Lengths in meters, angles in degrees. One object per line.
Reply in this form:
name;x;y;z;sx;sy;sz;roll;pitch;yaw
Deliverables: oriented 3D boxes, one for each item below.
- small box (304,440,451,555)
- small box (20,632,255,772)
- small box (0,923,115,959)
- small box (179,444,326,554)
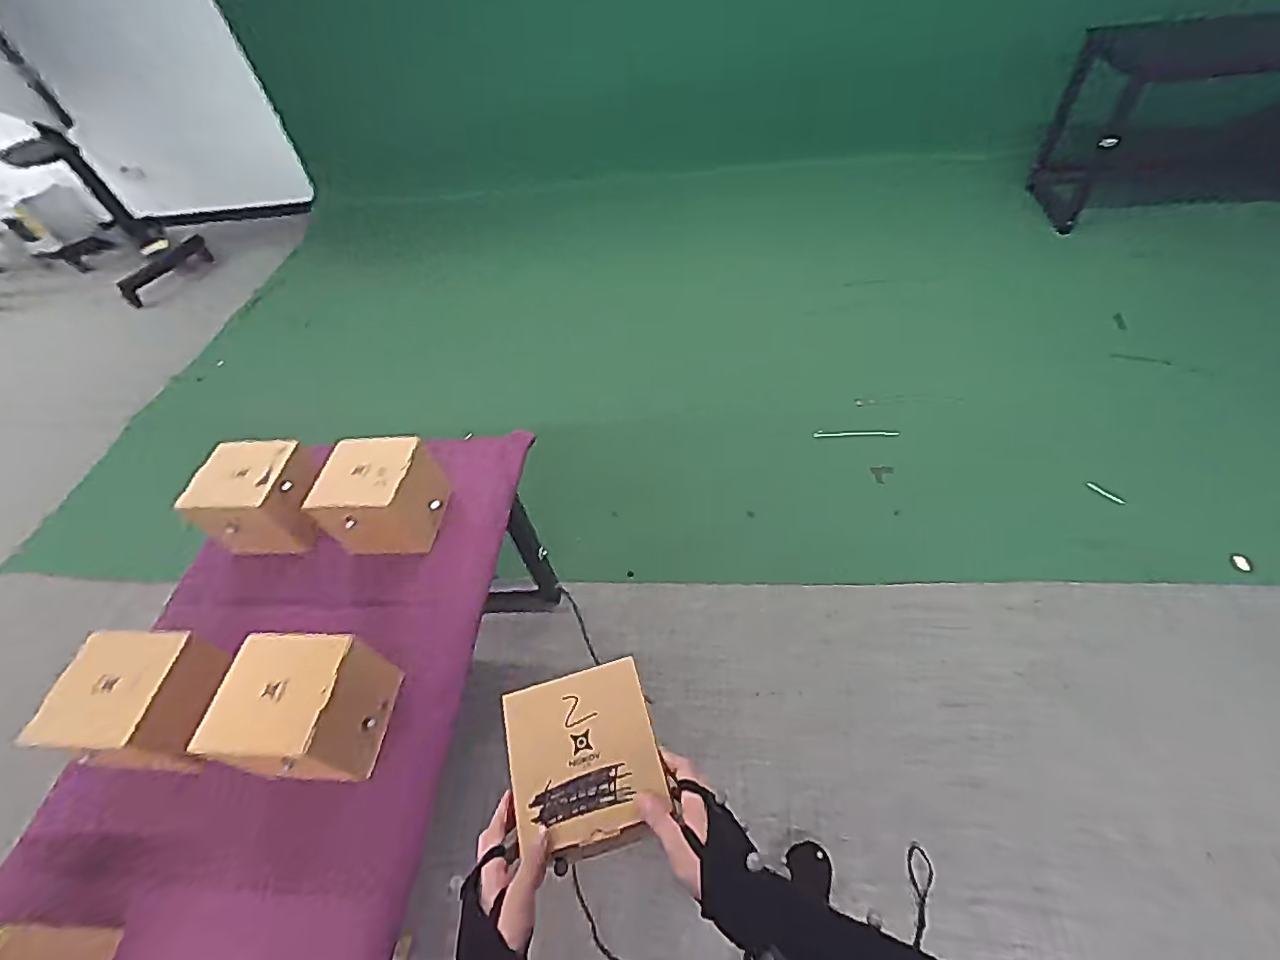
small box;-0.510;0.038;1.080;0.179;0.176;0.168;-1;52;9
small box;-0.779;0.356;0.863;0.179;0.176;0.168;-1;51;6
small box;-0.801;0.632;0.636;0.179;0.176;0.168;-2;50;7
small box;-0.770;0.043;1.116;0.179;0.176;0.168;-2;51;6
